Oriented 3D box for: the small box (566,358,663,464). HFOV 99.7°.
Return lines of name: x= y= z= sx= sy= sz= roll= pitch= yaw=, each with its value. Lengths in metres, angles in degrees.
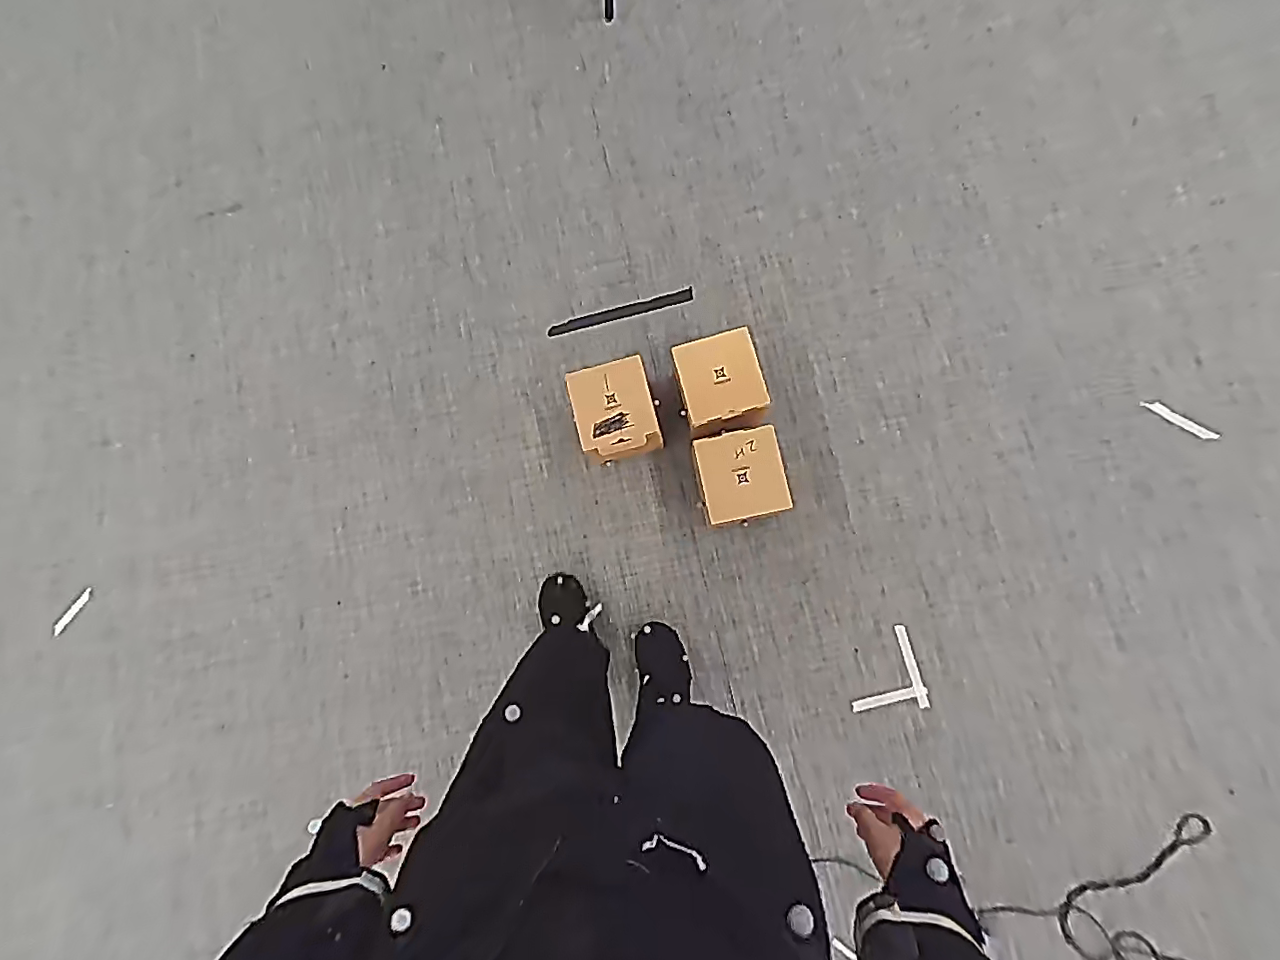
small box: x=-0.049 y=-0.141 z=1.194 sx=0.168 sy=0.176 sz=0.179 roll=-14 pitch=80 yaw=3
